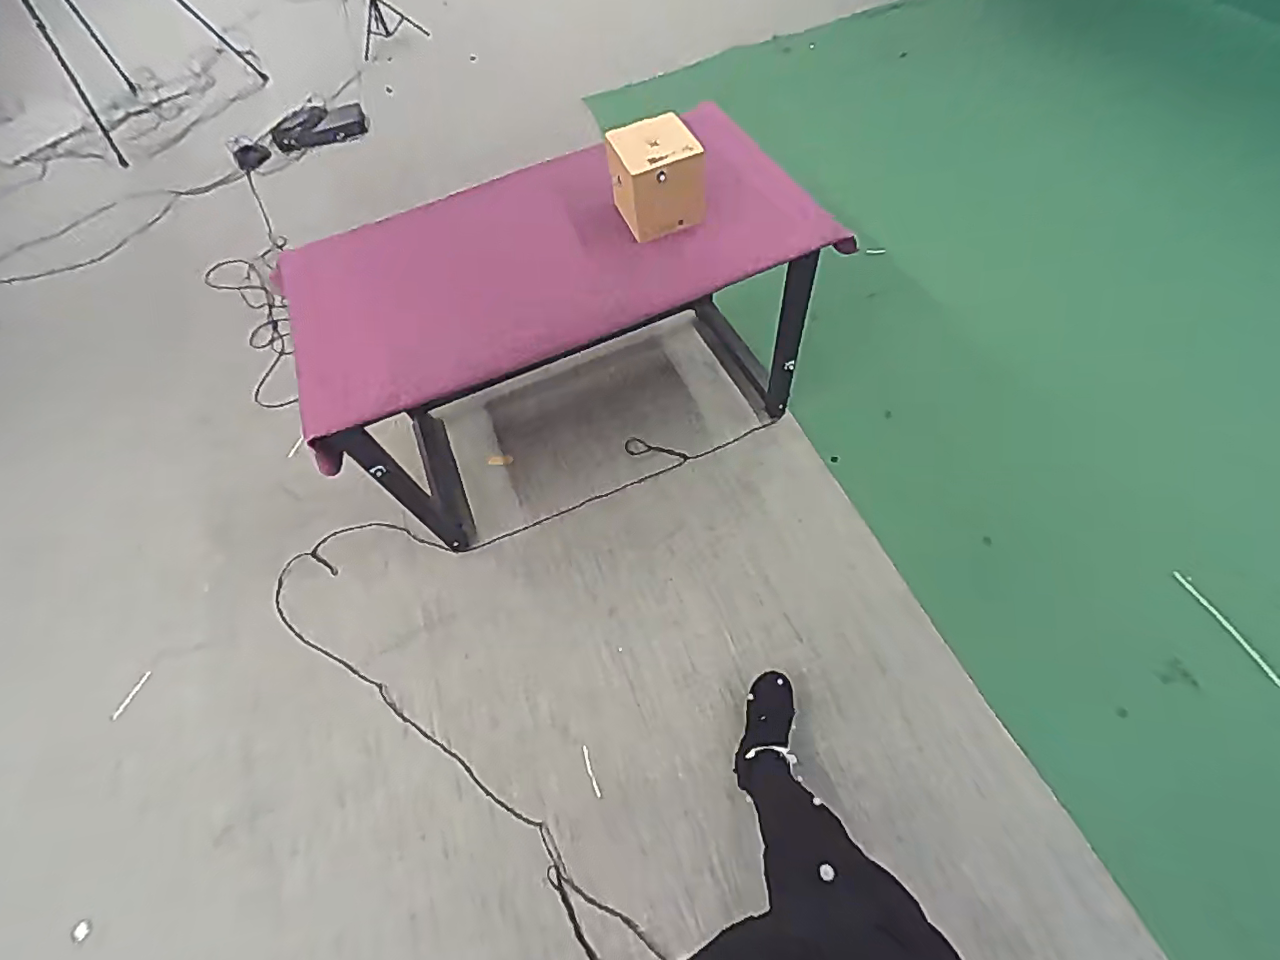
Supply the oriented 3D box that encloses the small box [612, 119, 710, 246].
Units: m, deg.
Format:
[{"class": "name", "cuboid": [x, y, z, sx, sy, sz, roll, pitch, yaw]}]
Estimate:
[{"class": "small box", "cuboid": [0.047, -0.664, 1.215, 0.168, 0.176, 0.179, -21, 60, -5]}]
